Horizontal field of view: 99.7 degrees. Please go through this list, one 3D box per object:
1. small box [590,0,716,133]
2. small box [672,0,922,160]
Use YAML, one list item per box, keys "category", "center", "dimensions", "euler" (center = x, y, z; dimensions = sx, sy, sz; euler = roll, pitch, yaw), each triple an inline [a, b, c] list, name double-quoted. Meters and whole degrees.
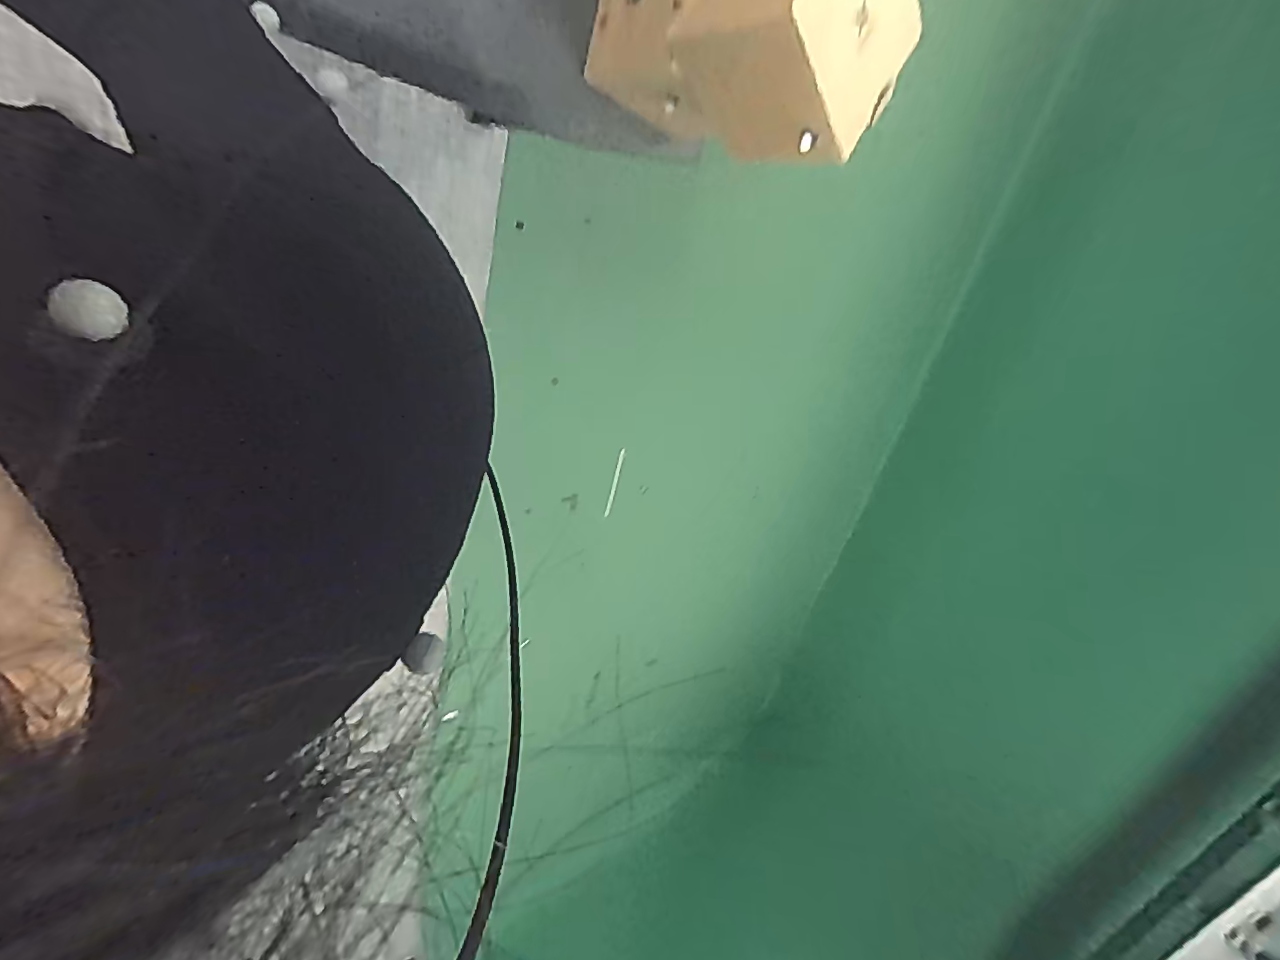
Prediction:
- category: "small box"
  center: [0.063, -0.556, 0.677]
  dimensions: [0.179, 0.176, 0.168]
  euler: [0, 114, -43]
- category: "small box"
  center: [0.165, -0.475, 0.578]
  dimensions: [0.179, 0.176, 0.168]
  euler: [29, 93, -49]
